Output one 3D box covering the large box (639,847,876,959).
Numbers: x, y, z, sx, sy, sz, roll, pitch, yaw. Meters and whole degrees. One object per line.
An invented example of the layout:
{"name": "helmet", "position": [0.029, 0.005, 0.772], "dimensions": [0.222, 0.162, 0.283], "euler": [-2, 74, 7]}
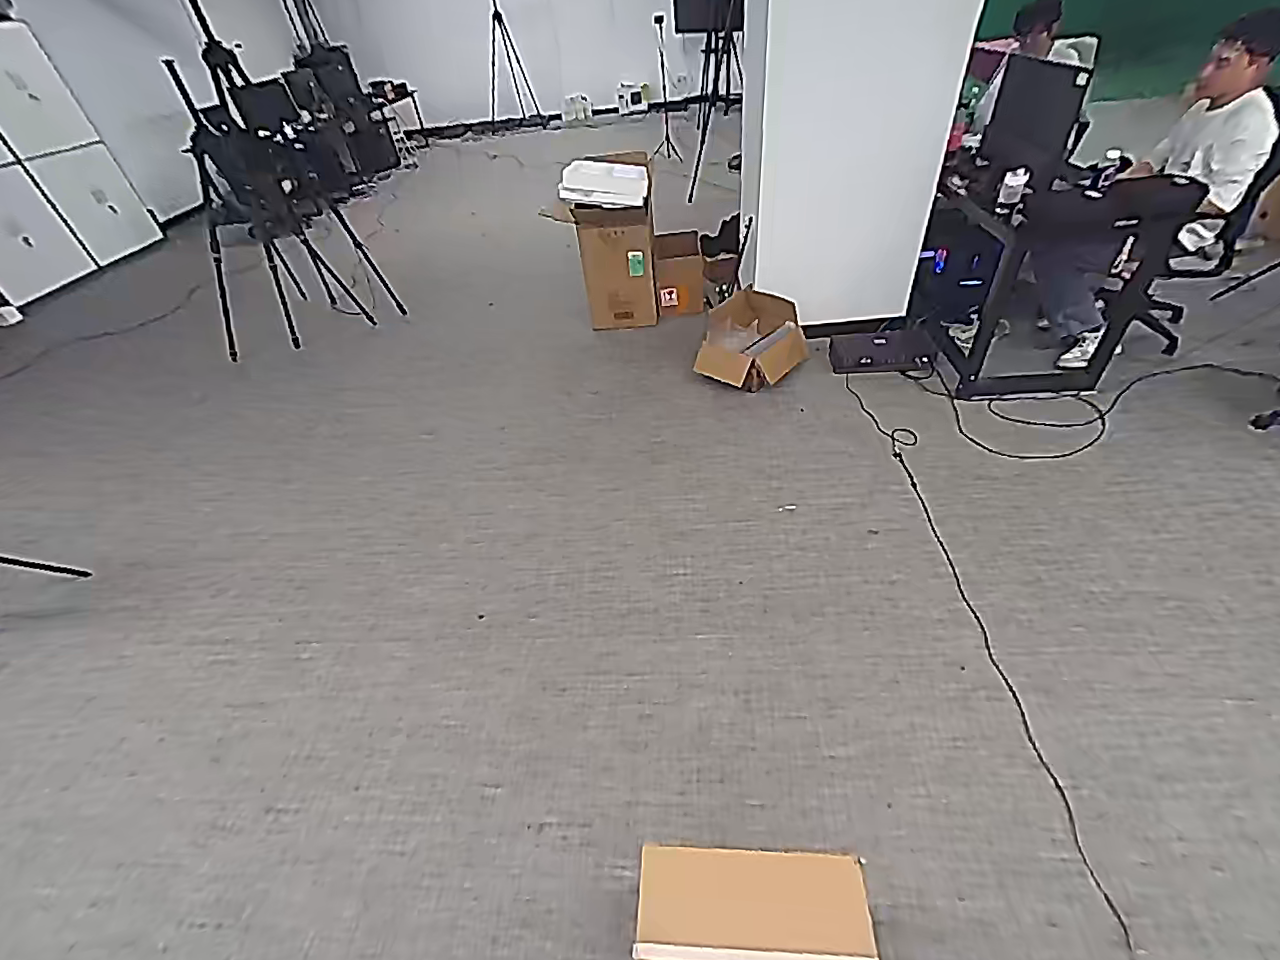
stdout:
{"name": "large box", "position": [0.207, 0.917, 1.009], "dimensions": [0.408, 0.320, 0.320], "euler": [-1, 42, 6]}
